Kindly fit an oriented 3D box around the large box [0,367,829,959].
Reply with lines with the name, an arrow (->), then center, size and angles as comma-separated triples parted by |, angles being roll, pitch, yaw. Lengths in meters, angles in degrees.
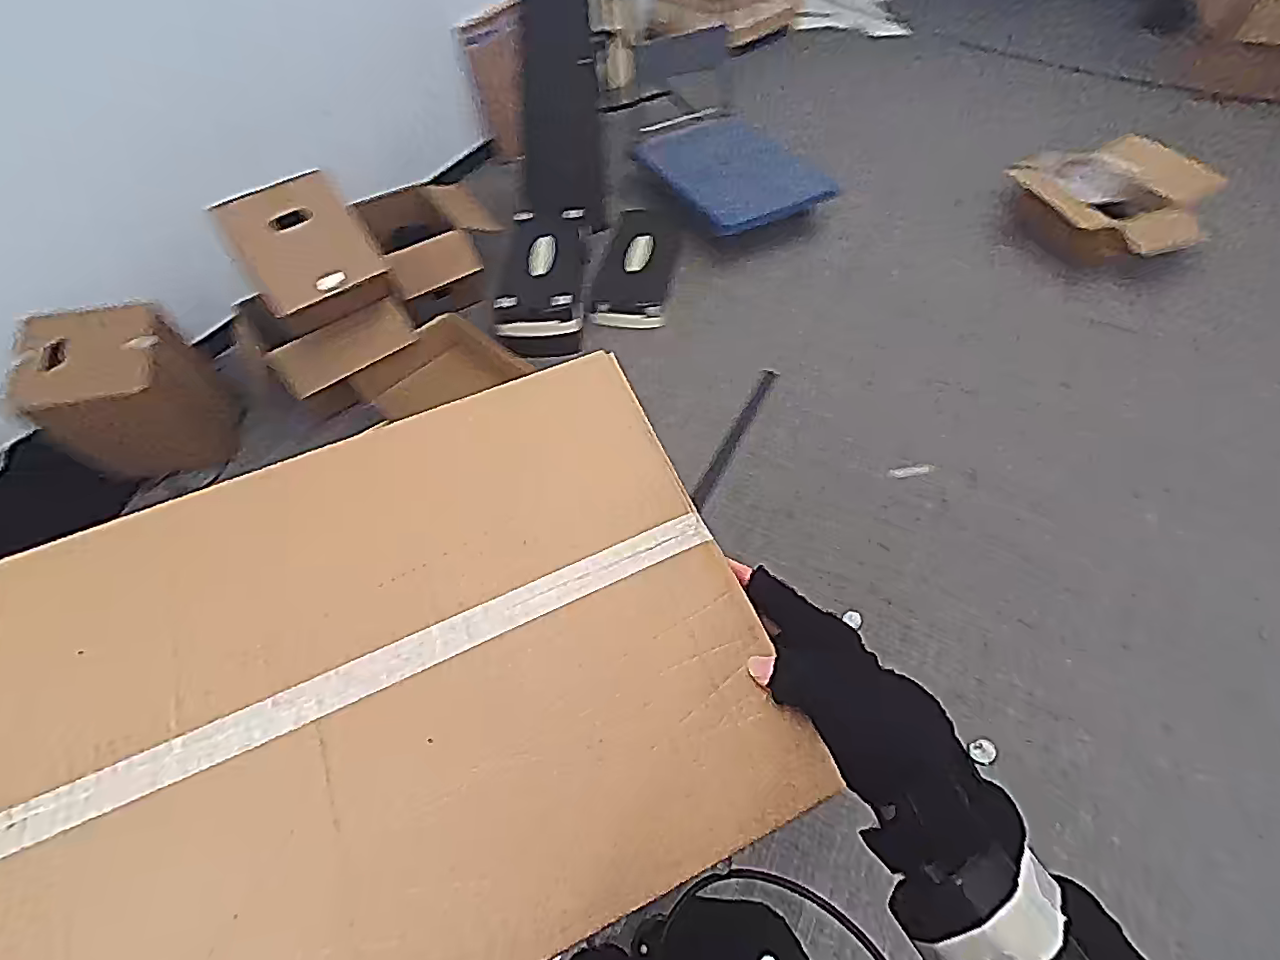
large box -> -0.137, 0.175, 0.443 | 0.408, 0.320, 0.320 | -22, 66, -10
